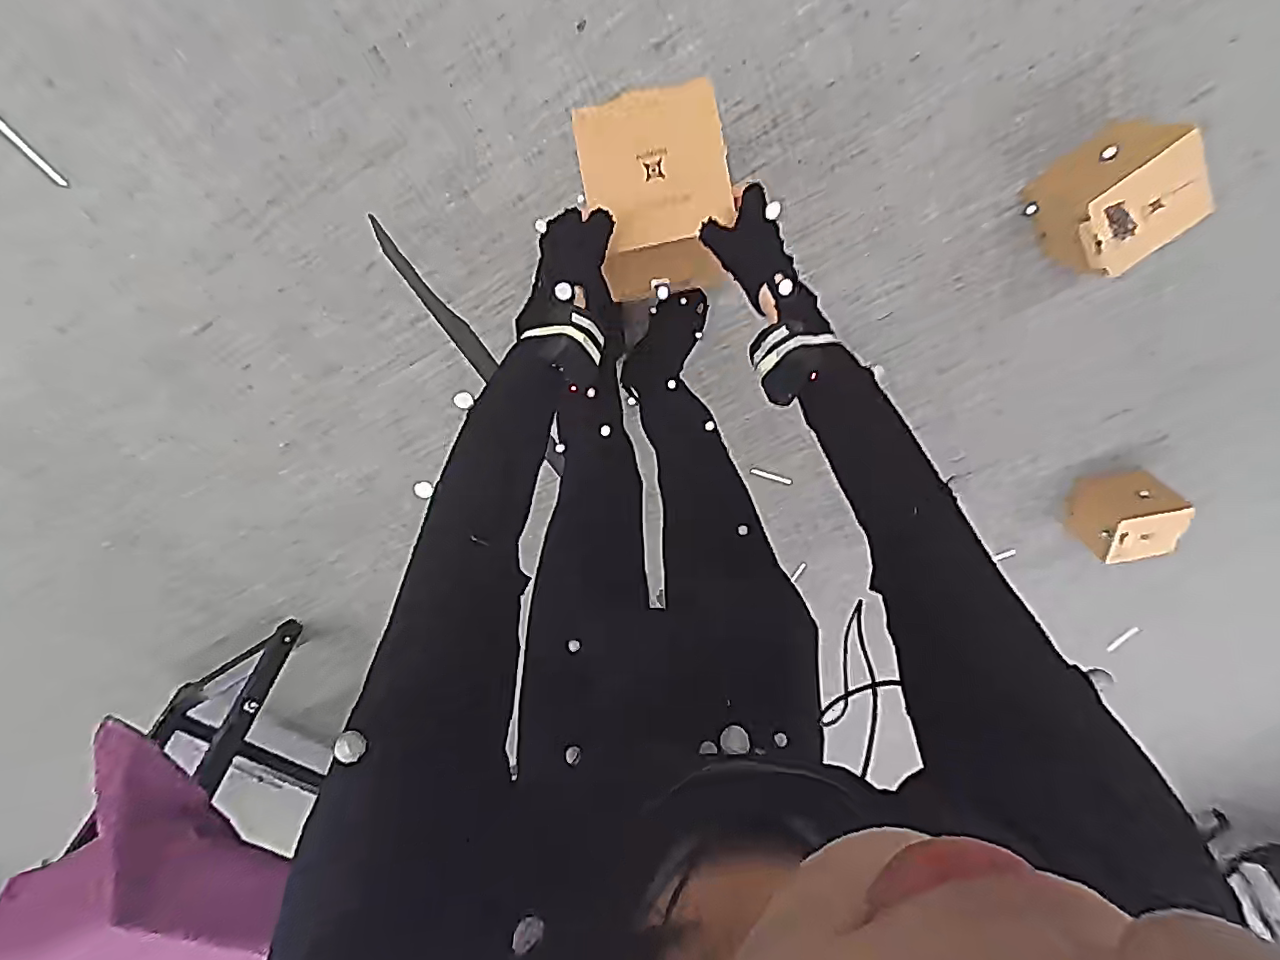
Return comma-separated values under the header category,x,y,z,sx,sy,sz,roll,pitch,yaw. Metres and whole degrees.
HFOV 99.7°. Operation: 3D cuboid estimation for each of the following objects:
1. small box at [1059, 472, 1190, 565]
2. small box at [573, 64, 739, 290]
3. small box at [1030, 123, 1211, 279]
category,x,y,z,sx,sy,sz,roll,pitch,yaw
small box,1.285,0.099,1.449,0.179,0.176,0.168,-13,126,5
small box,0.023,-0.365,0.685,0.168,0.176,0.179,-10,91,6
small box,0.845,-0.502,0.970,0.179,0.176,0.168,-36,121,20
